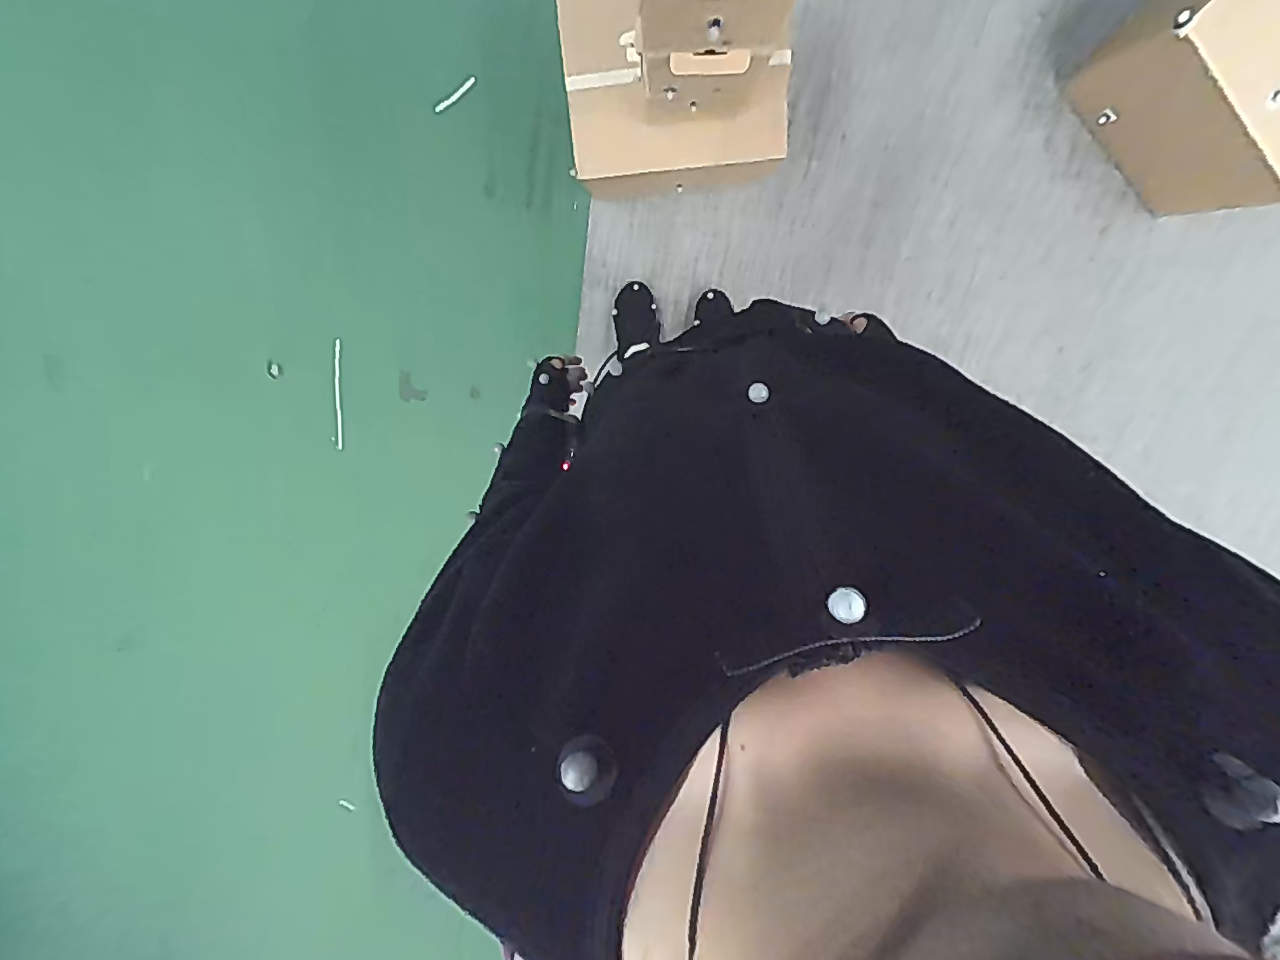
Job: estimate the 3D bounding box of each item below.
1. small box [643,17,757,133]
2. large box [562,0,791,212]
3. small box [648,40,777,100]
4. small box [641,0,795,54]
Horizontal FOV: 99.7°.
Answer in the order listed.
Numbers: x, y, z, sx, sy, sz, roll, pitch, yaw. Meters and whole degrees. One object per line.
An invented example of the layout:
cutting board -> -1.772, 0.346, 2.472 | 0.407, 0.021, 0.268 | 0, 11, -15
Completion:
small box -> 0.098, -0.690, 0.892 | 0.179, 0.176, 0.168 | -1, 111, 3
large box -> 0.085, -0.767, 1.126 | 0.408, 0.320, 0.320 | -4, 108, 6
small box -> 0.098, -0.639, 0.736 | 0.168, 0.176, 0.179 | 1, 110, 3
small box -> 0.085, -0.587, 0.581 | 0.168, 0.176, 0.179 | -1, 111, 3
